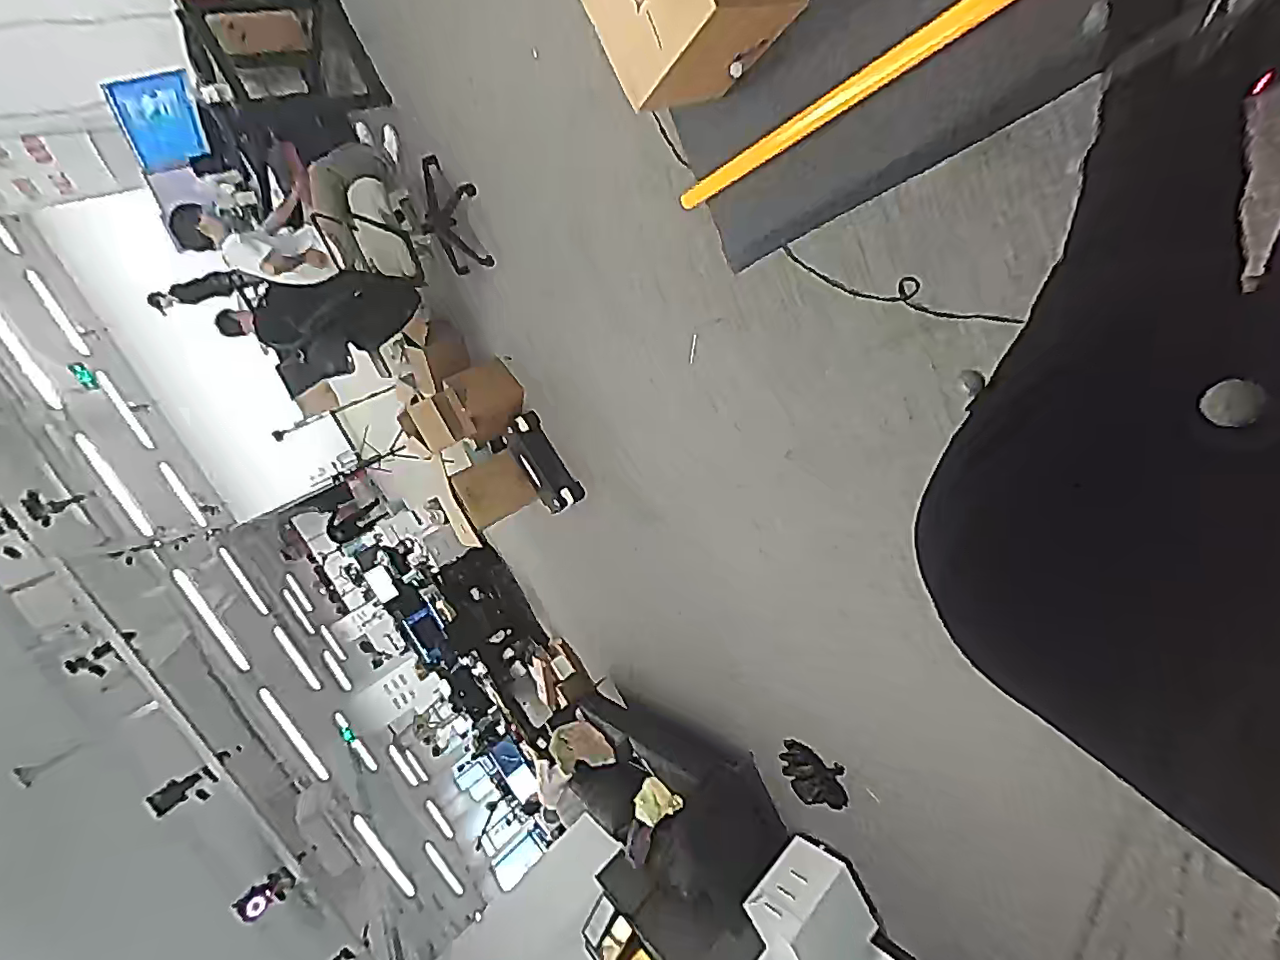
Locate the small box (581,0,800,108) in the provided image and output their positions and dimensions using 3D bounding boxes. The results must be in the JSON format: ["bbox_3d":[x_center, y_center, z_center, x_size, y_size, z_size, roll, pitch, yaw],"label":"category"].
[{"bbox_3d":[0.052,-0.582,0.633,0.168,0.176,0.179,-8,112,58],"label":"small box"}]
